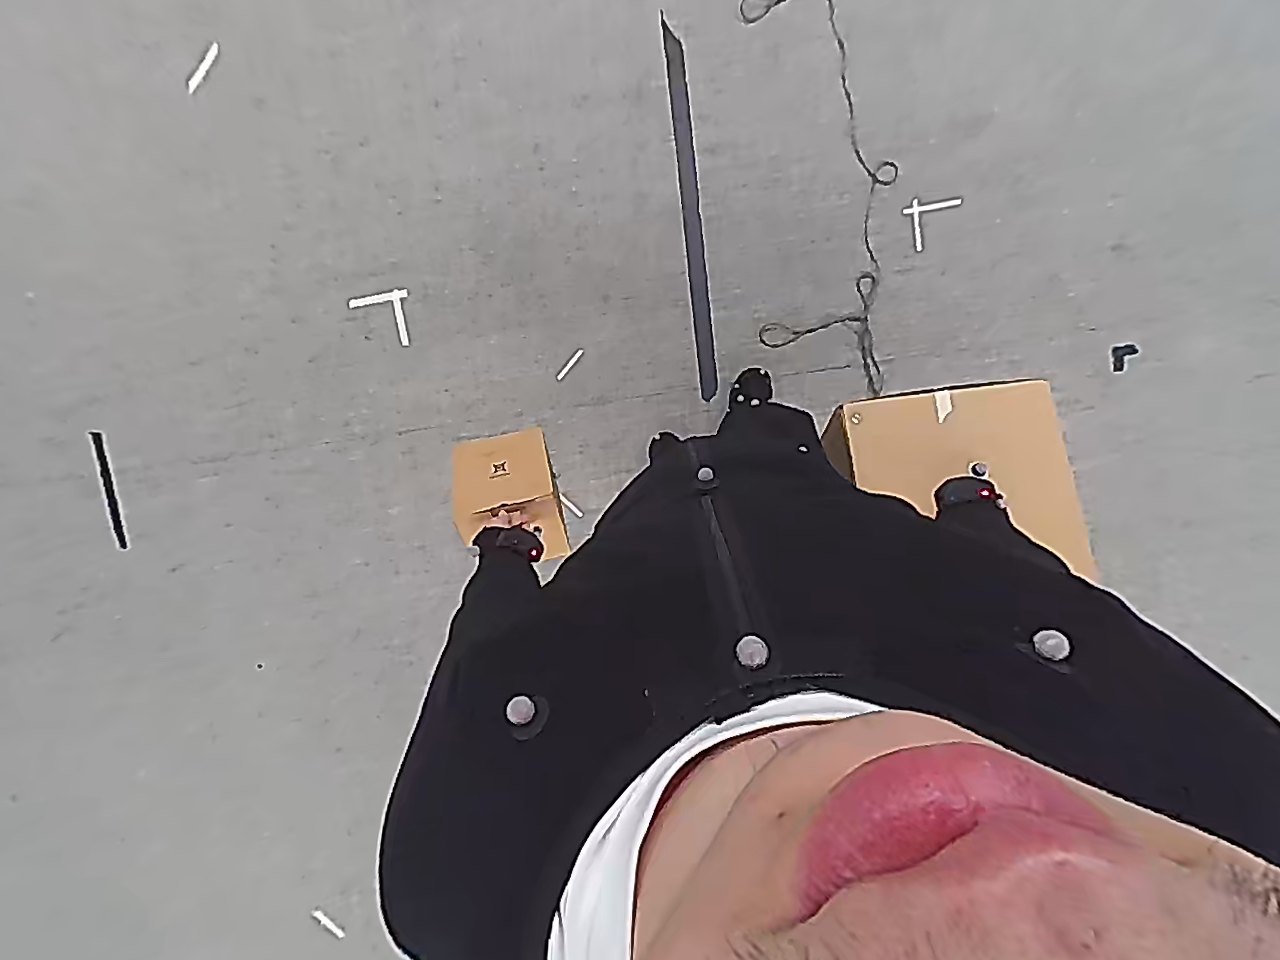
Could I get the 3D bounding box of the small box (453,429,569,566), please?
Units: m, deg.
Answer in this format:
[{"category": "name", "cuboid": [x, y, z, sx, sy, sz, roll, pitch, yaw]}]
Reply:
[{"category": "small box", "cuboid": [-0.233, 0.038, 0.988, 0.168, 0.179, 0.176, -13, 136, -8]}]
